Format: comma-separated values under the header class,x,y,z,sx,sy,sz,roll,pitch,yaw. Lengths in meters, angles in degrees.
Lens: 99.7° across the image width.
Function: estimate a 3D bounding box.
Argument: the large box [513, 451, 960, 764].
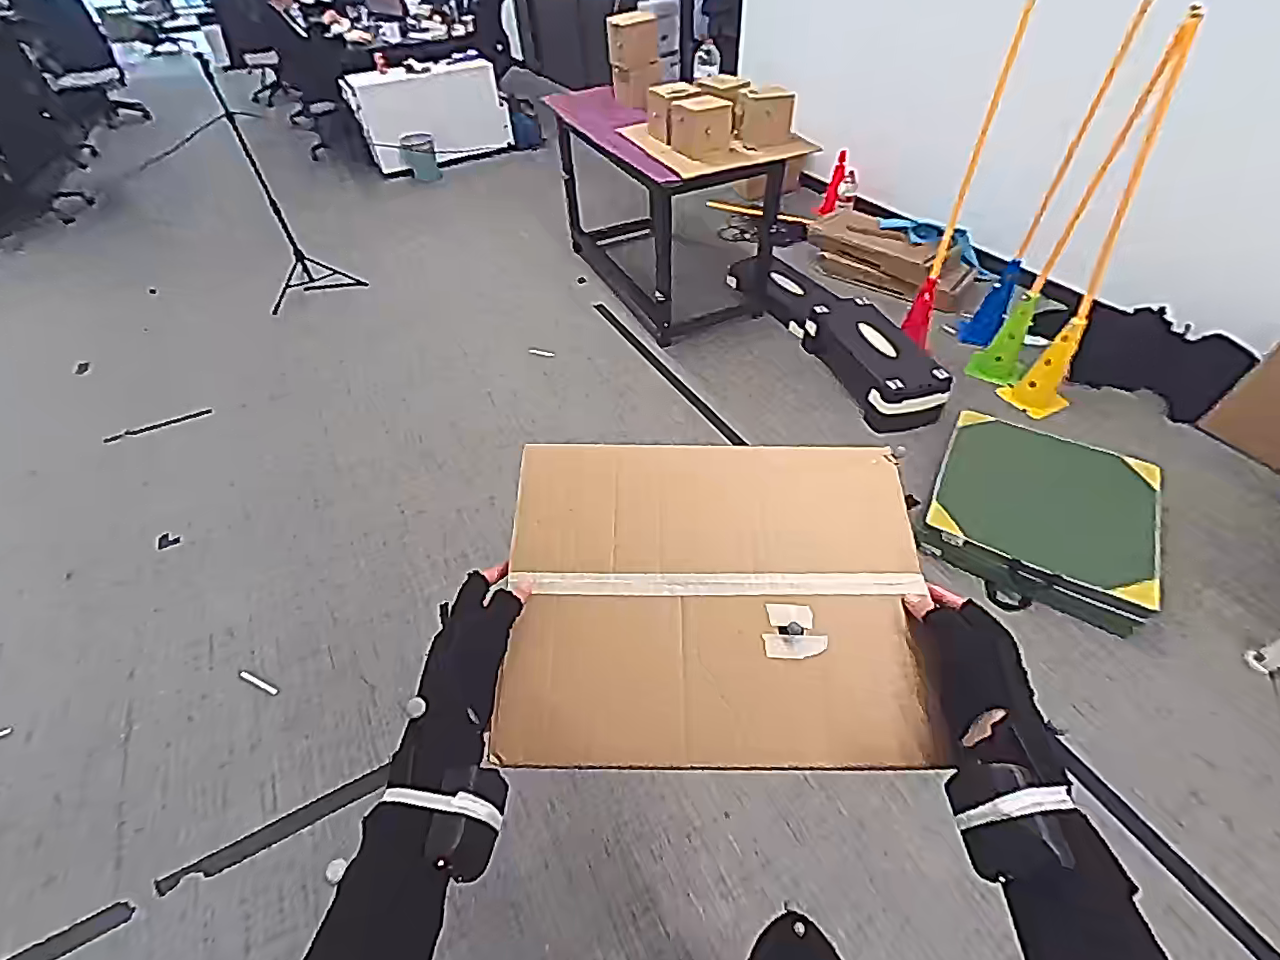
class,x,y,z,sx,sy,sz,roll,pitch,yaw
large box,0.081,0.173,0.671,0.408,0.320,0.320,1,64,-1
